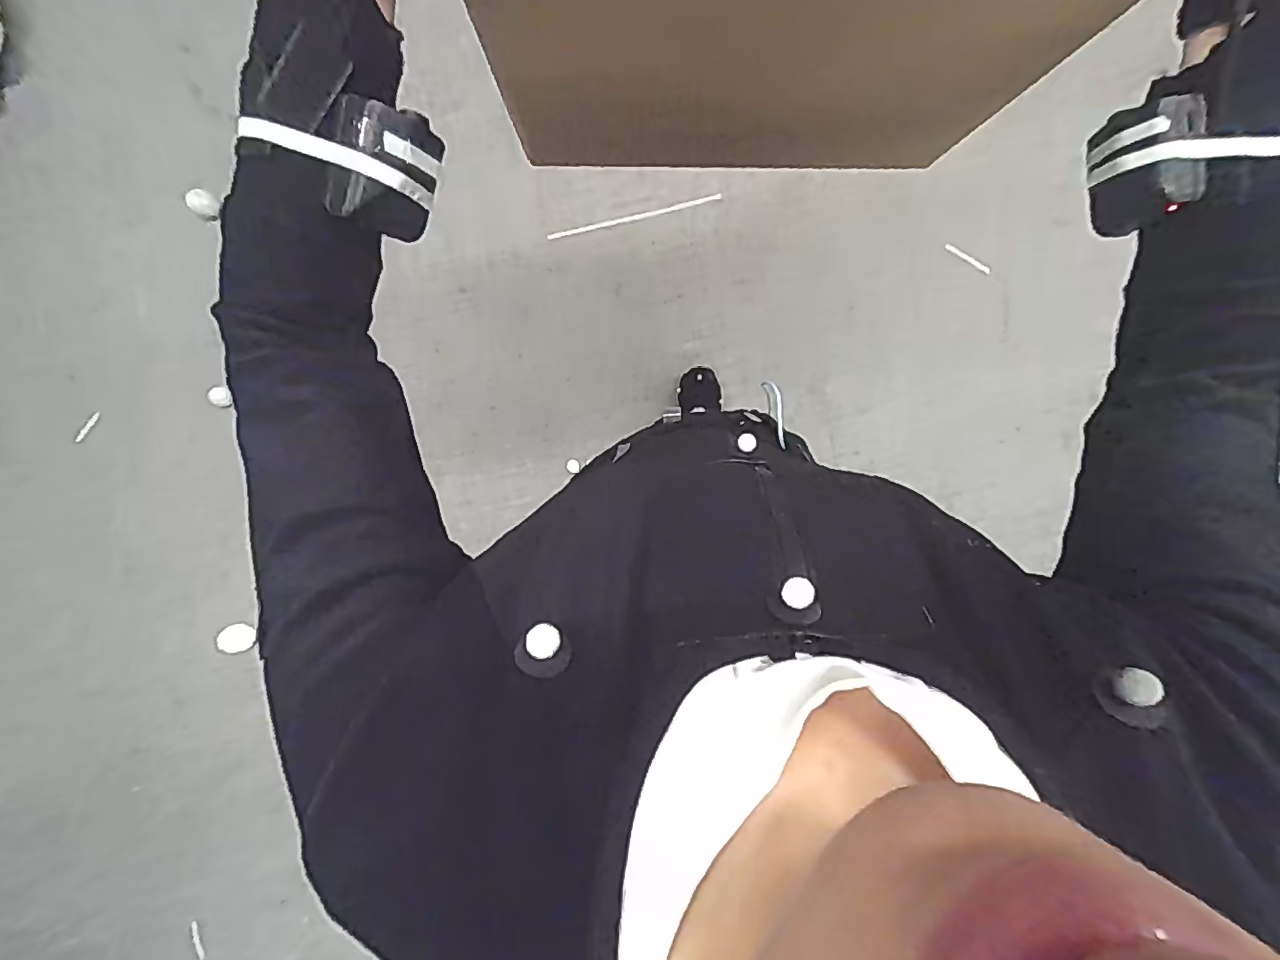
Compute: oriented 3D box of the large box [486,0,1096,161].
[{"bbox_3d":[0.092,-0.456,0.380,0.408,0.320,0.320,-2,99,-3],"label":"large box"}]
